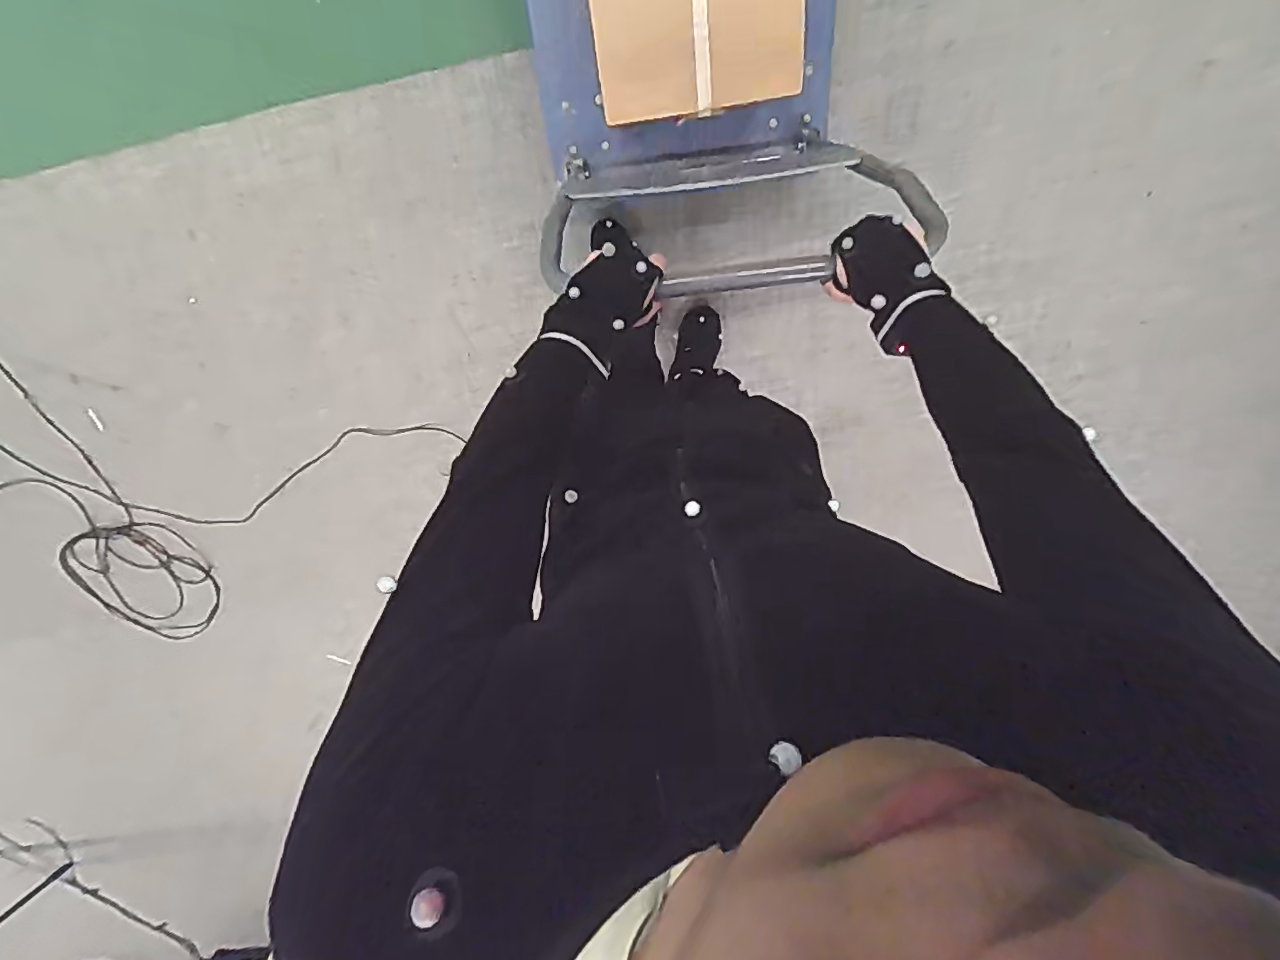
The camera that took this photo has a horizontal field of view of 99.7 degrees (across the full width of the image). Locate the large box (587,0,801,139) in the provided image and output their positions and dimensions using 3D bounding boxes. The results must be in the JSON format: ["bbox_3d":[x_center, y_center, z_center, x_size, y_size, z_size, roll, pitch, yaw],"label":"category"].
[{"bbox_3d":[0.074,-0.822,0.886,0.320,0.320,0.408,-7,124,4],"label":"large box"}]
